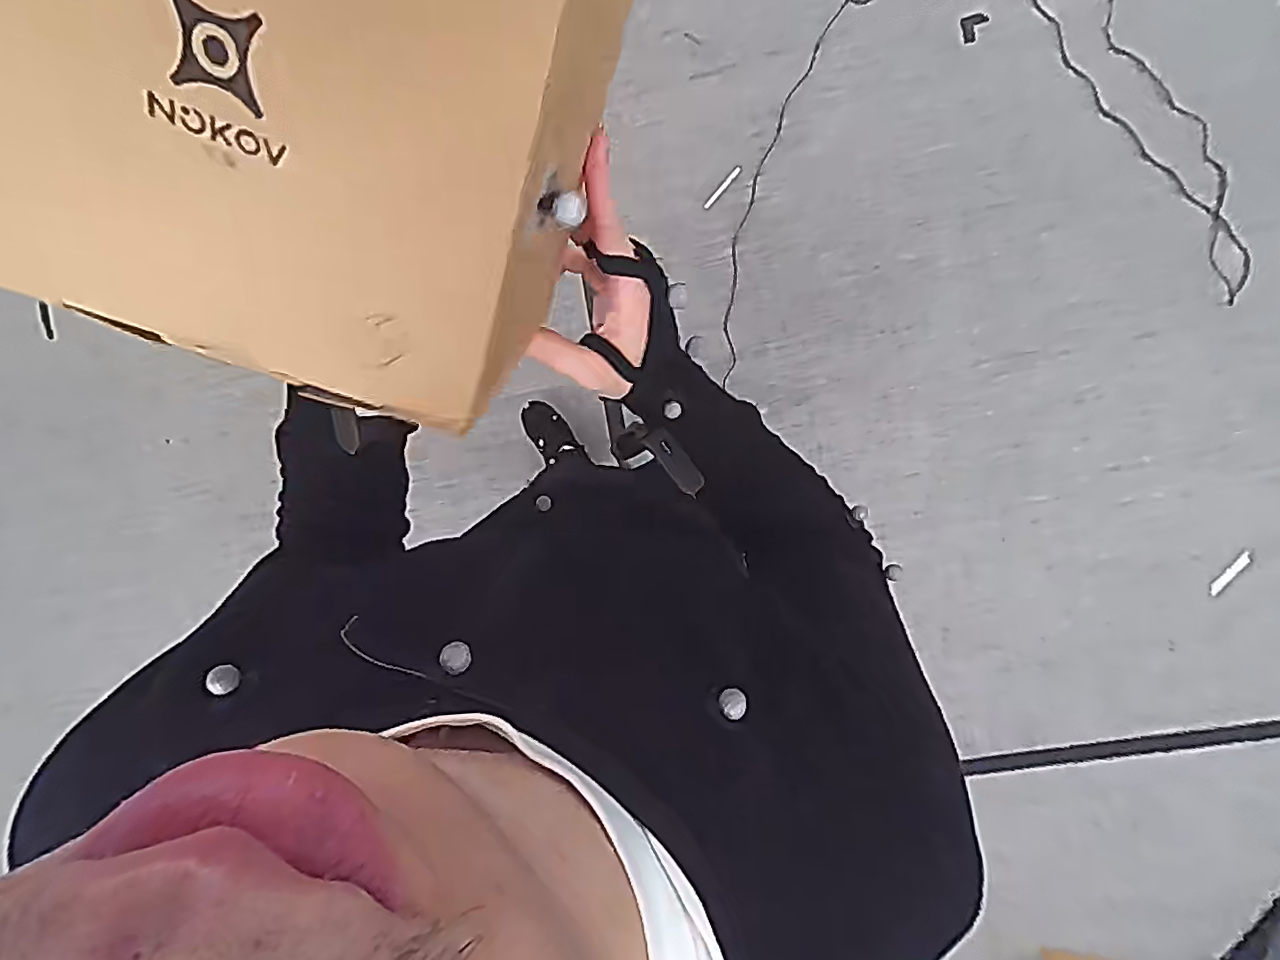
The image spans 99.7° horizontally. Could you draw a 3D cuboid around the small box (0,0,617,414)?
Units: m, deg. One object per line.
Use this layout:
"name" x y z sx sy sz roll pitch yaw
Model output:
"small box" -0.110 -0.158 0.222 0.168 0.176 0.179 16 120 -9
